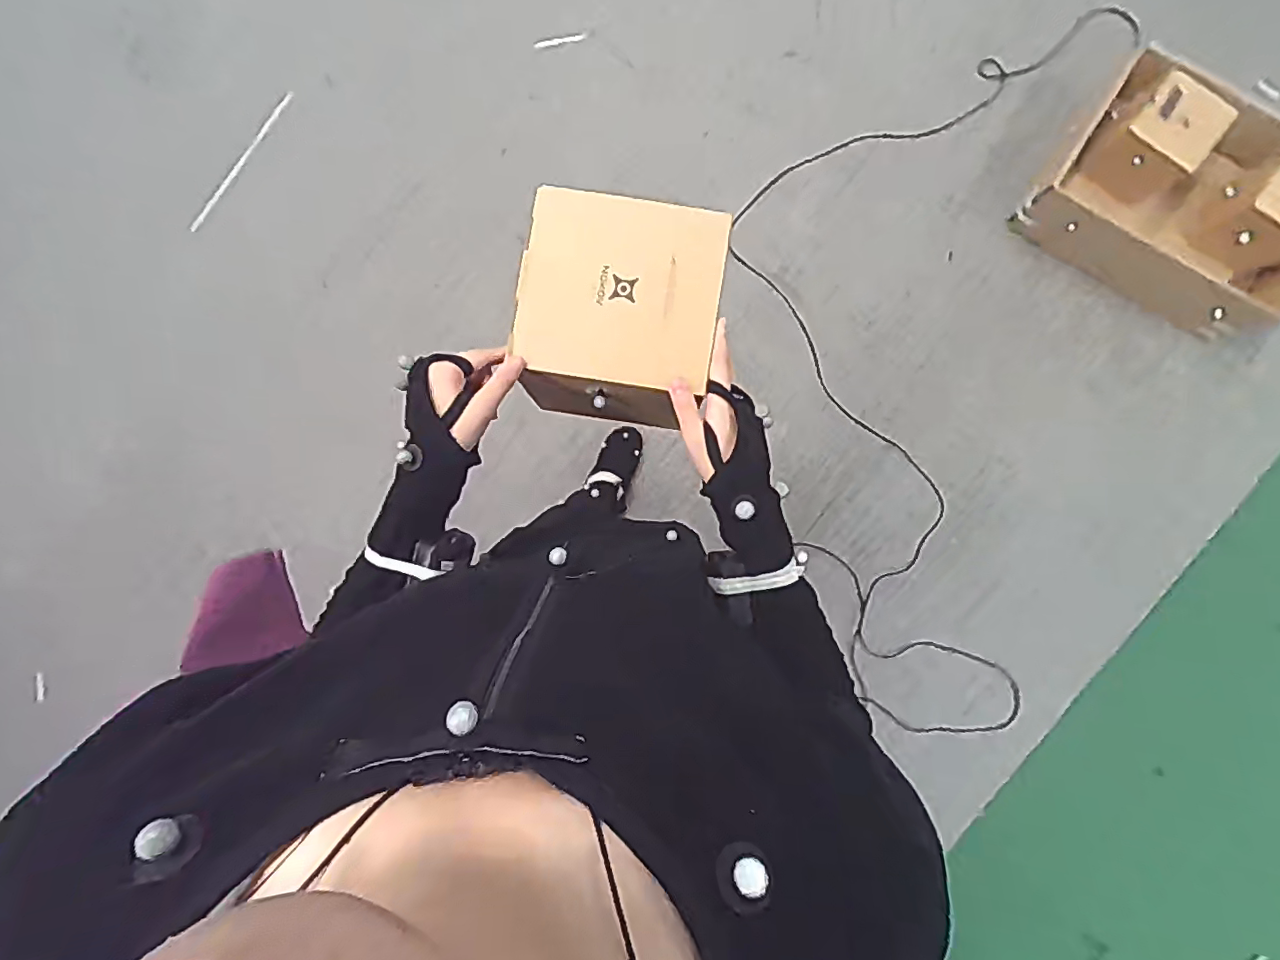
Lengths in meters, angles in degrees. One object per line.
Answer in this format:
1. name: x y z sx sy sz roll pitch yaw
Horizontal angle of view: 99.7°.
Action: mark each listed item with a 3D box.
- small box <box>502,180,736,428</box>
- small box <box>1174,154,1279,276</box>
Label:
1. small box: -0.017 -0.157 0.537 0.179 0.176 0.168 11 84 0
2. small box: 1.474 -0.626 1.305 0.179 0.176 0.168 36 92 2
